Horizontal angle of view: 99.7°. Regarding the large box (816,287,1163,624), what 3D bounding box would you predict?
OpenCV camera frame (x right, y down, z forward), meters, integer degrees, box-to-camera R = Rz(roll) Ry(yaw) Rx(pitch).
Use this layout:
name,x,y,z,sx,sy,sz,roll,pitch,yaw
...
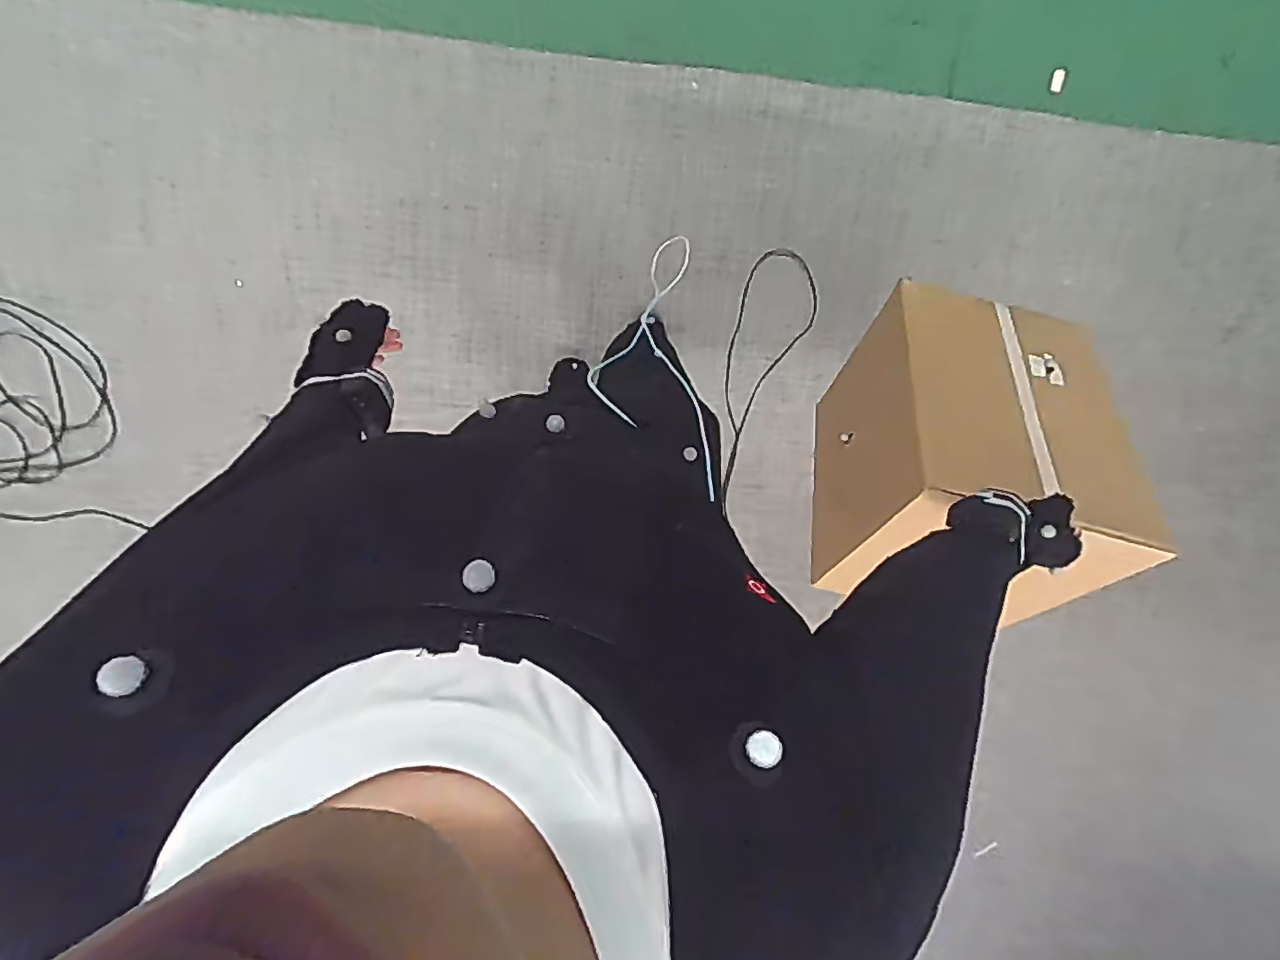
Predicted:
name,x,y,z,sx,sy,sz,roll,pitch,yaw
large box,0.493,-0.031,0.875,0.320,0.408,0.320,15,146,-2
